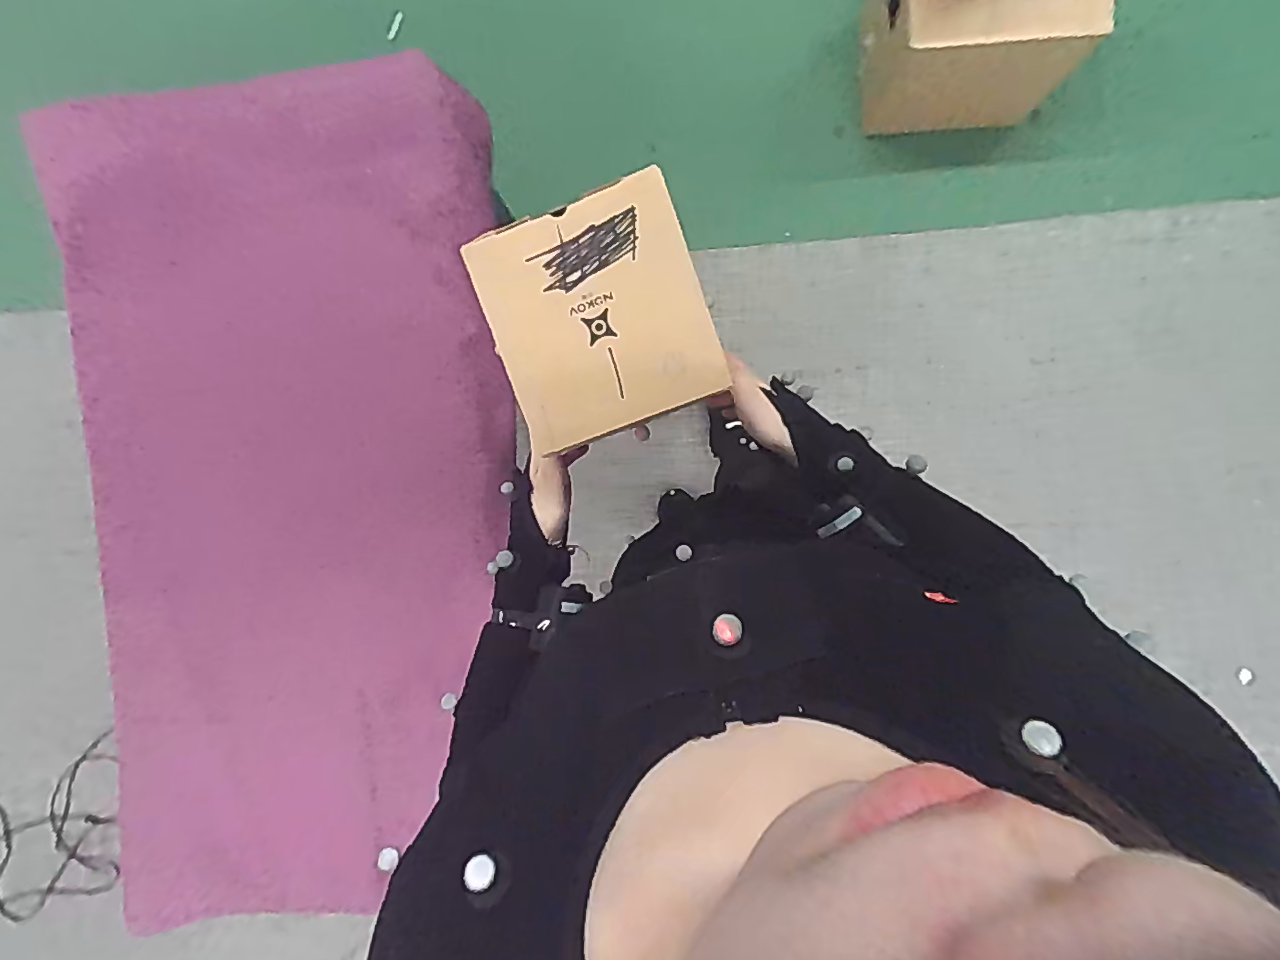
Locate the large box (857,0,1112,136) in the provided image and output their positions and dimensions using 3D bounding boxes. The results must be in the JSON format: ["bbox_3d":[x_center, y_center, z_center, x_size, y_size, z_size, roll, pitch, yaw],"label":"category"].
[{"bbox_3d":[0.762,-1.057,1.255,0.408,0.320,0.320,-2,92,3],"label":"large box"}]

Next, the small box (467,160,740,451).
[{"bbox_3d":[-0.023,-0.135,0.483,0.168,0.176,0.179,-19,95,7],"label":"small box"}]
